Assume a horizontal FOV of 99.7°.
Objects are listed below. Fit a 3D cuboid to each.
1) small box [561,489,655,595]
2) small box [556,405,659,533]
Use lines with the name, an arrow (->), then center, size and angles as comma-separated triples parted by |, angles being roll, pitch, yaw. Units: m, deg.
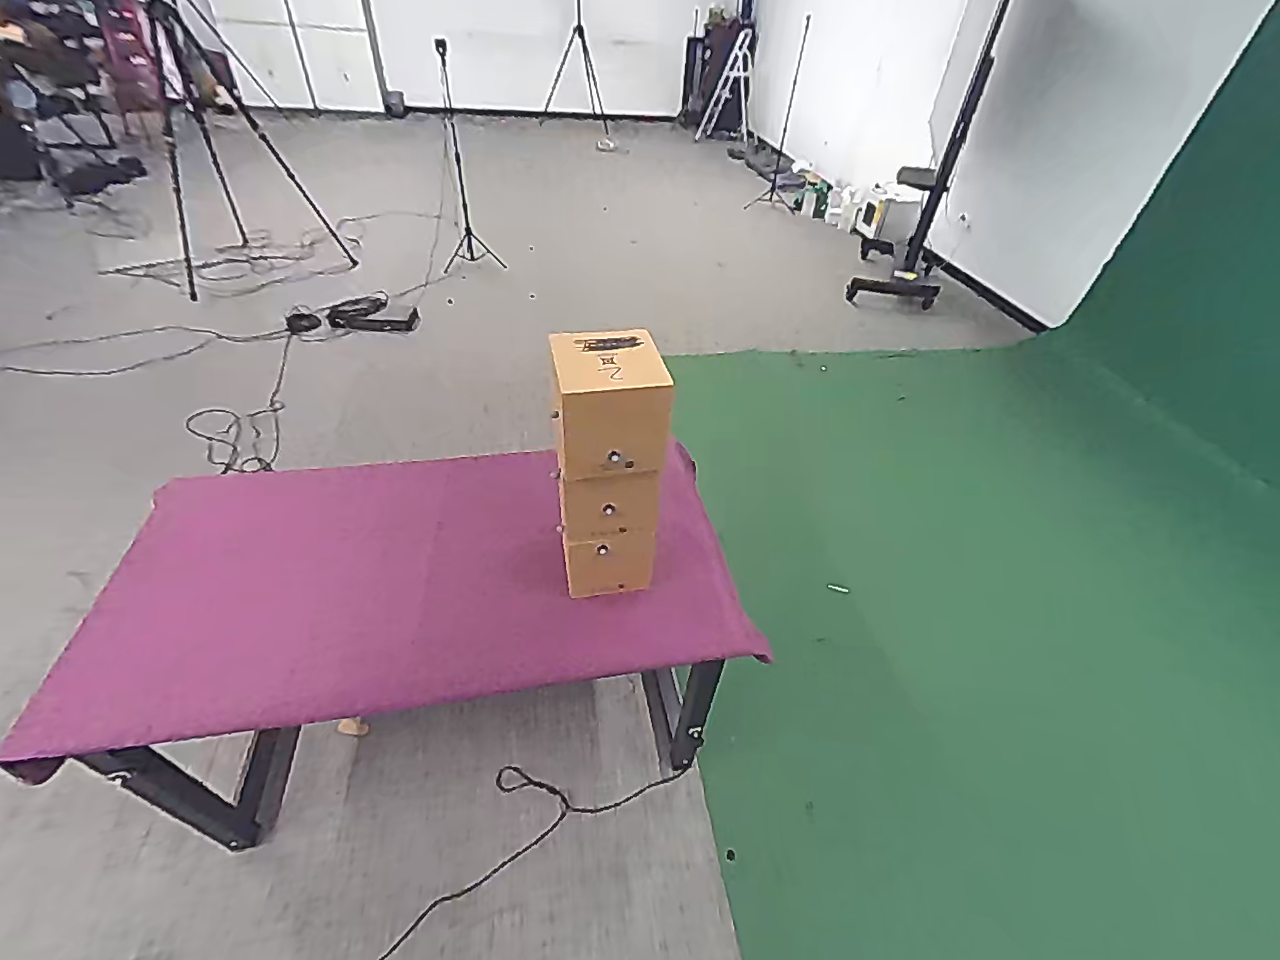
small box -> -0.071, 0.108, 1.103 | 0.168, 0.176, 0.179 | -6, 43, -10
small box -> -0.063, -0.016, 0.993 | 0.168, 0.176, 0.179 | -4, 43, -9
